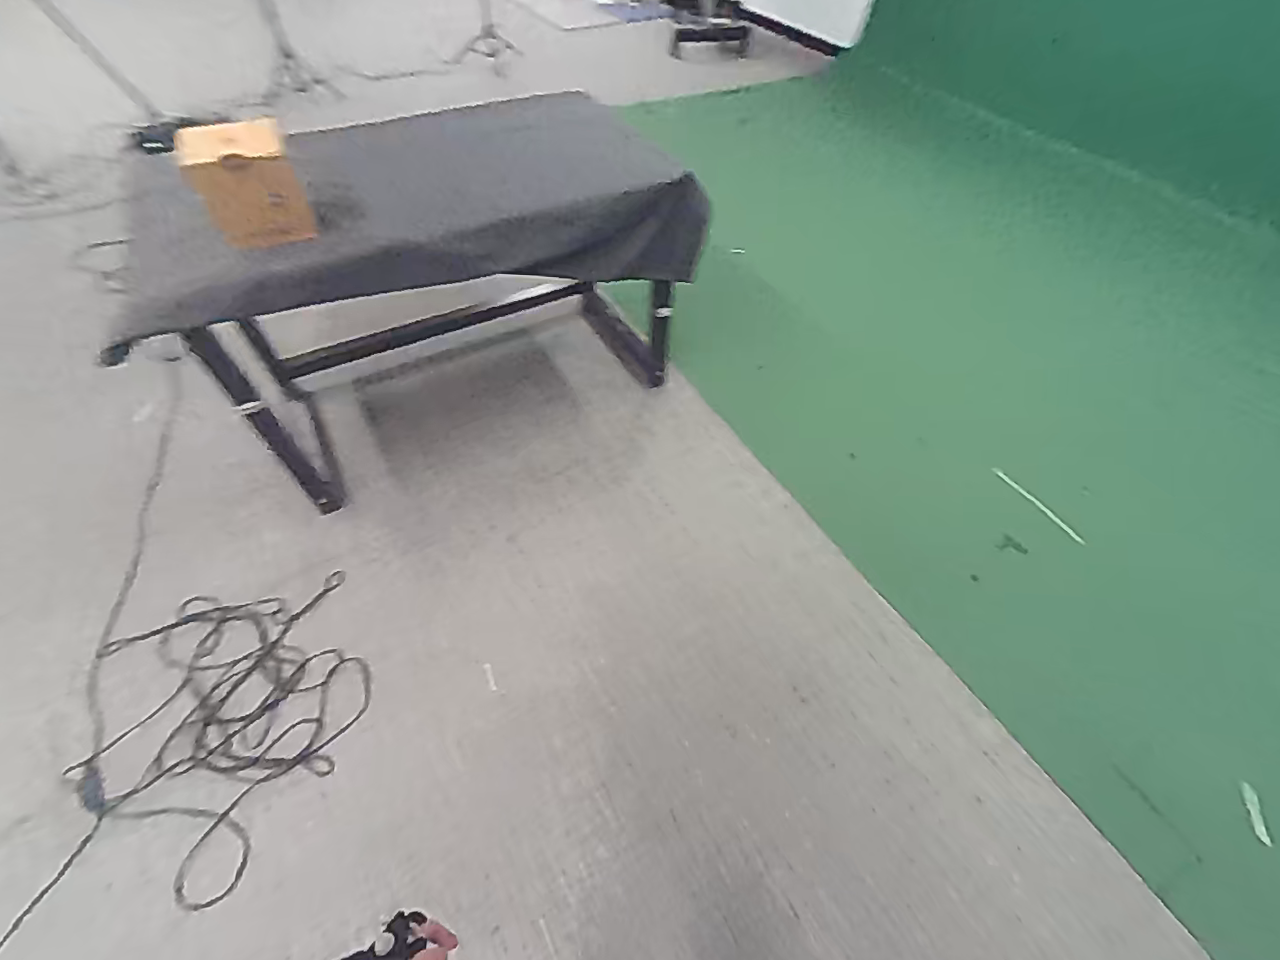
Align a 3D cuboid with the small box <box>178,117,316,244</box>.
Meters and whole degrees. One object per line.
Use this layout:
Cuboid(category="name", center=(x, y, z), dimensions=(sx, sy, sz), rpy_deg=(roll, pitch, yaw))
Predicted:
Cuboid(category="small box", center=(-0.771, -0.588, 1.073), dimensions=(0.168, 0.176, 0.179), rpy_deg=(-20, 55, -19))
